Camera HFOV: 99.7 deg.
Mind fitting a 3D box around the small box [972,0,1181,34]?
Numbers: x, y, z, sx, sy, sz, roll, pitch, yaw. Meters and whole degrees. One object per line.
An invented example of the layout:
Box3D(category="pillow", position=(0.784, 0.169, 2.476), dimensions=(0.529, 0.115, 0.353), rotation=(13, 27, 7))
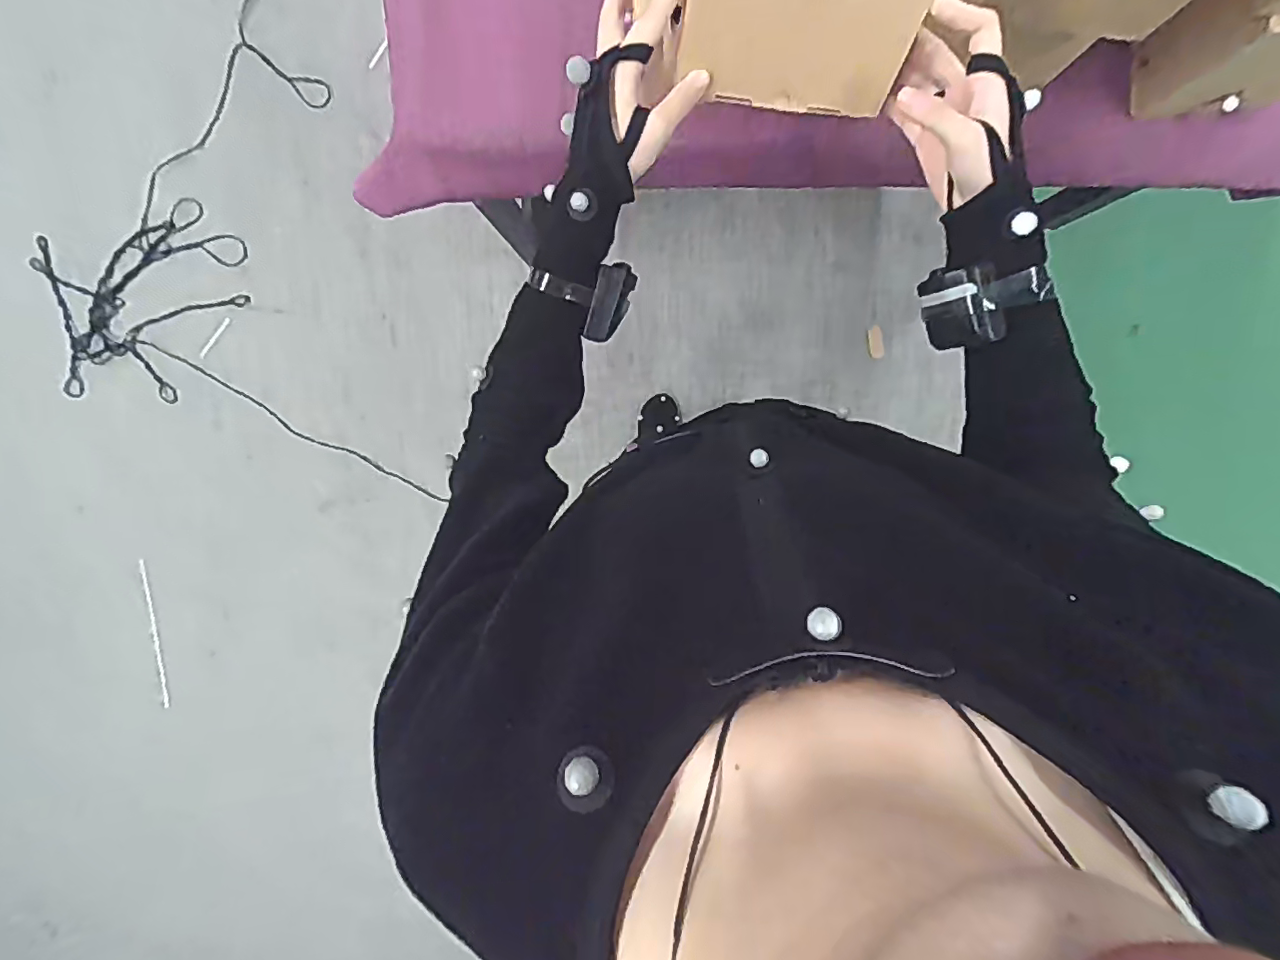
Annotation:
Box3D(category="small box", position=(0.423, -0.520, 0.451), dimensions=(0.179, 0.176, 0.168), rotation=(8, 96, 3))

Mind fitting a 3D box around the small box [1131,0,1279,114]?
Box3D(category="small box", position=(0.710, -0.542, 0.600), dimensions=(0.179, 0.176, 0.168), rotation=(-4, 96, 3))

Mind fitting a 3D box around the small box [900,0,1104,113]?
Box3D(category="small box", position=(0.413, -0.562, 0.612), dimensions=(0.168, 0.176, 0.179), rotation=(-7, 96, 4))
